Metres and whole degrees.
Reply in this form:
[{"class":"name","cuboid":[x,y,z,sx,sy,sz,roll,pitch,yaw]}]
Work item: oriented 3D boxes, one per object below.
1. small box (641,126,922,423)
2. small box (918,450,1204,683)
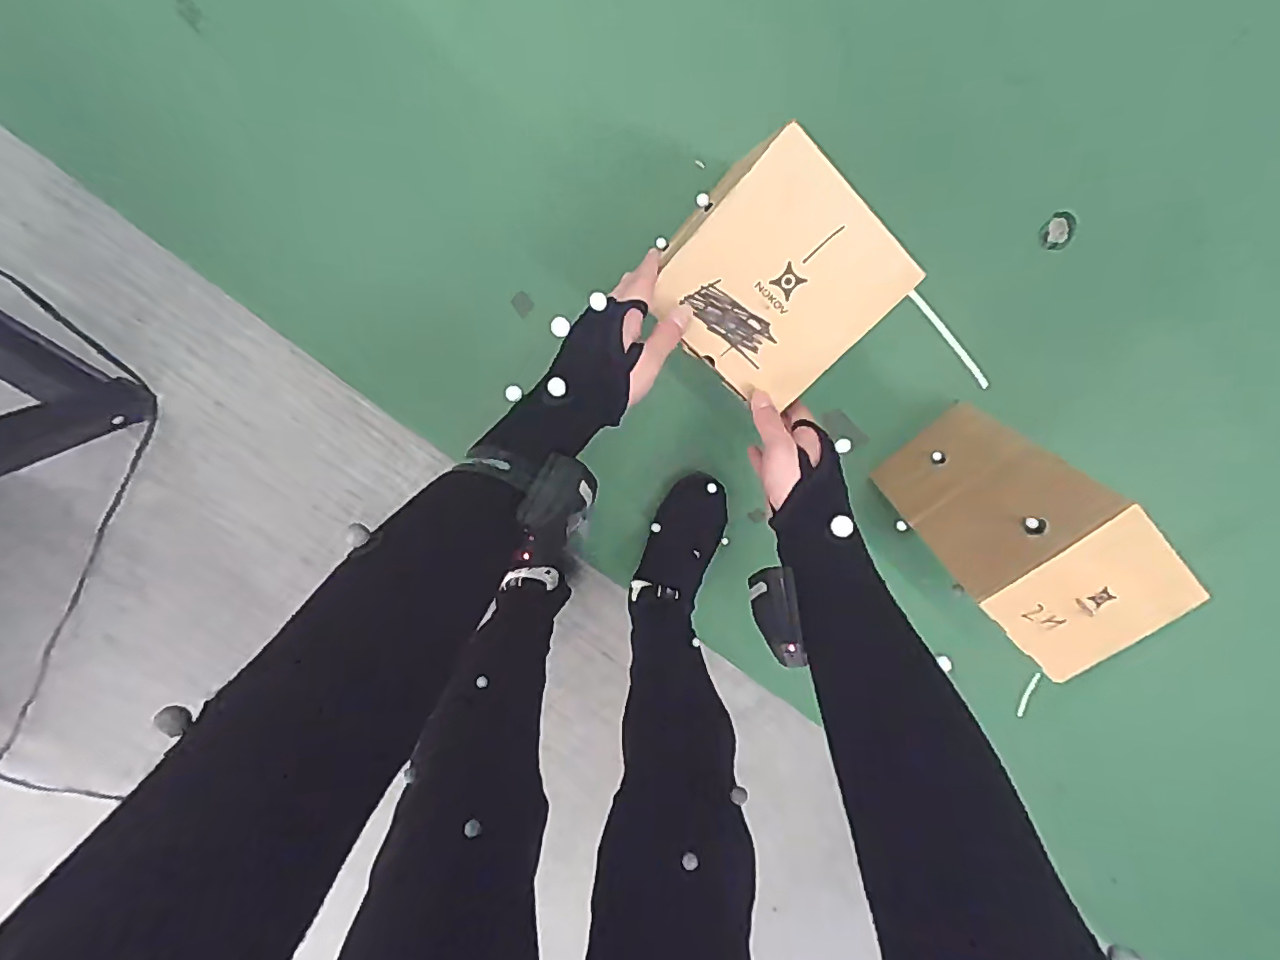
[{"class":"small box","cuboid":[0.120,-0.191,0.522,0.168,0.176,0.179,40,109,-16]},{"class":"small box","cuboid":[0.478,0.094,0.643,0.168,0.176,0.179,41,110,-16]}]
